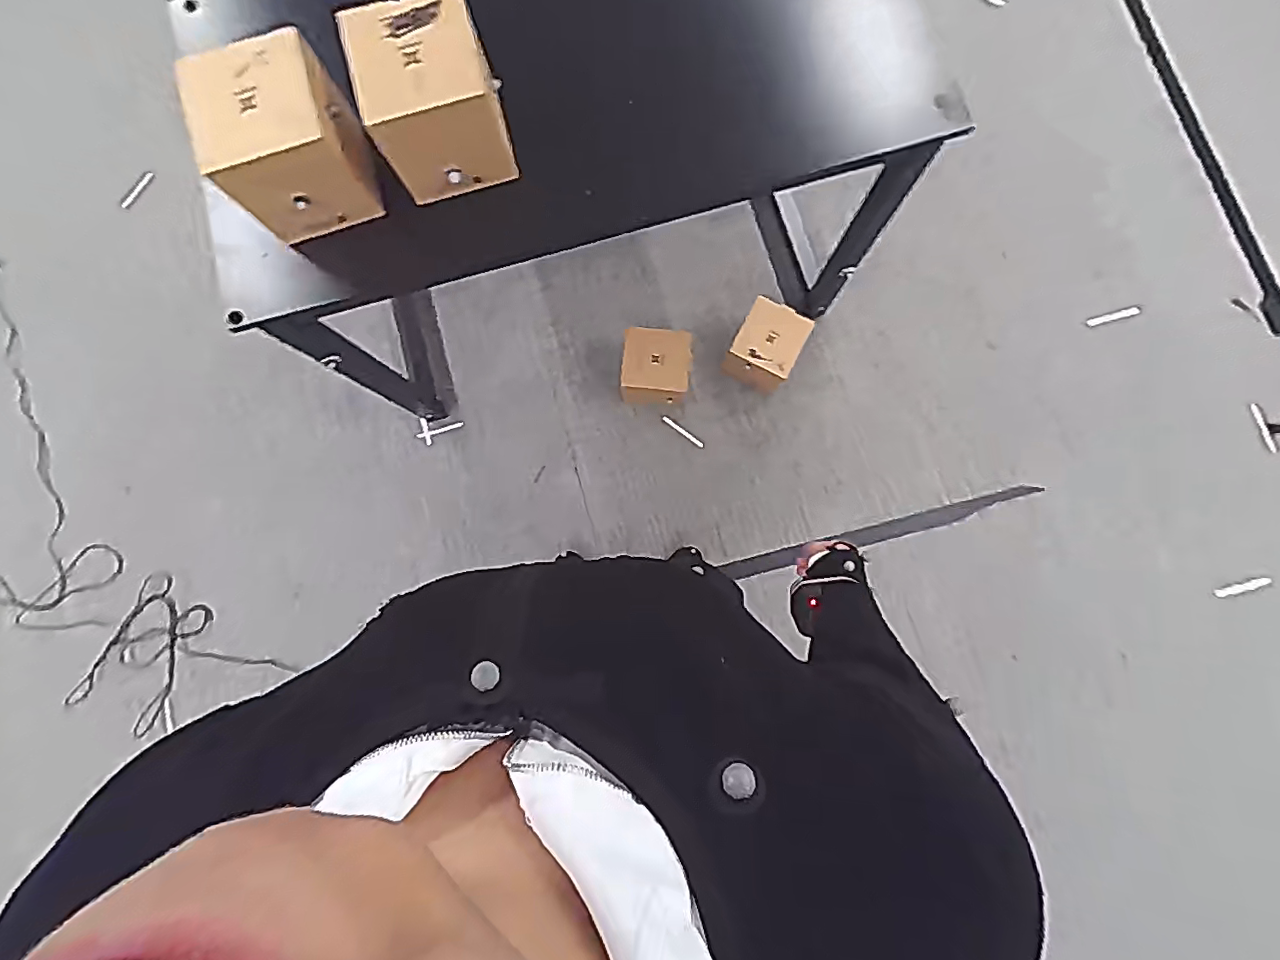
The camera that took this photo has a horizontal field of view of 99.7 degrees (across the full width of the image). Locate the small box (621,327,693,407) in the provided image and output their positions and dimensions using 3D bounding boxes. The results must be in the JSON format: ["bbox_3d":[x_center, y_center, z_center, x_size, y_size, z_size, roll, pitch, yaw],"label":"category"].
[{"bbox_3d":[0.048,-0.304,1.485,0.179,0.176,0.168,5,83,3],"label":"small box"}]

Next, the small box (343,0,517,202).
[{"bbox_3d":[-0.294,-0.550,0.789,0.168,0.176,0.179,-16,83,0],"label":"small box"}]

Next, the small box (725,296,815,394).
[{"bbox_3d":[0.346,-0.362,1.480,0.168,0.176,0.179,28,85,5],"label":"small box"}]
